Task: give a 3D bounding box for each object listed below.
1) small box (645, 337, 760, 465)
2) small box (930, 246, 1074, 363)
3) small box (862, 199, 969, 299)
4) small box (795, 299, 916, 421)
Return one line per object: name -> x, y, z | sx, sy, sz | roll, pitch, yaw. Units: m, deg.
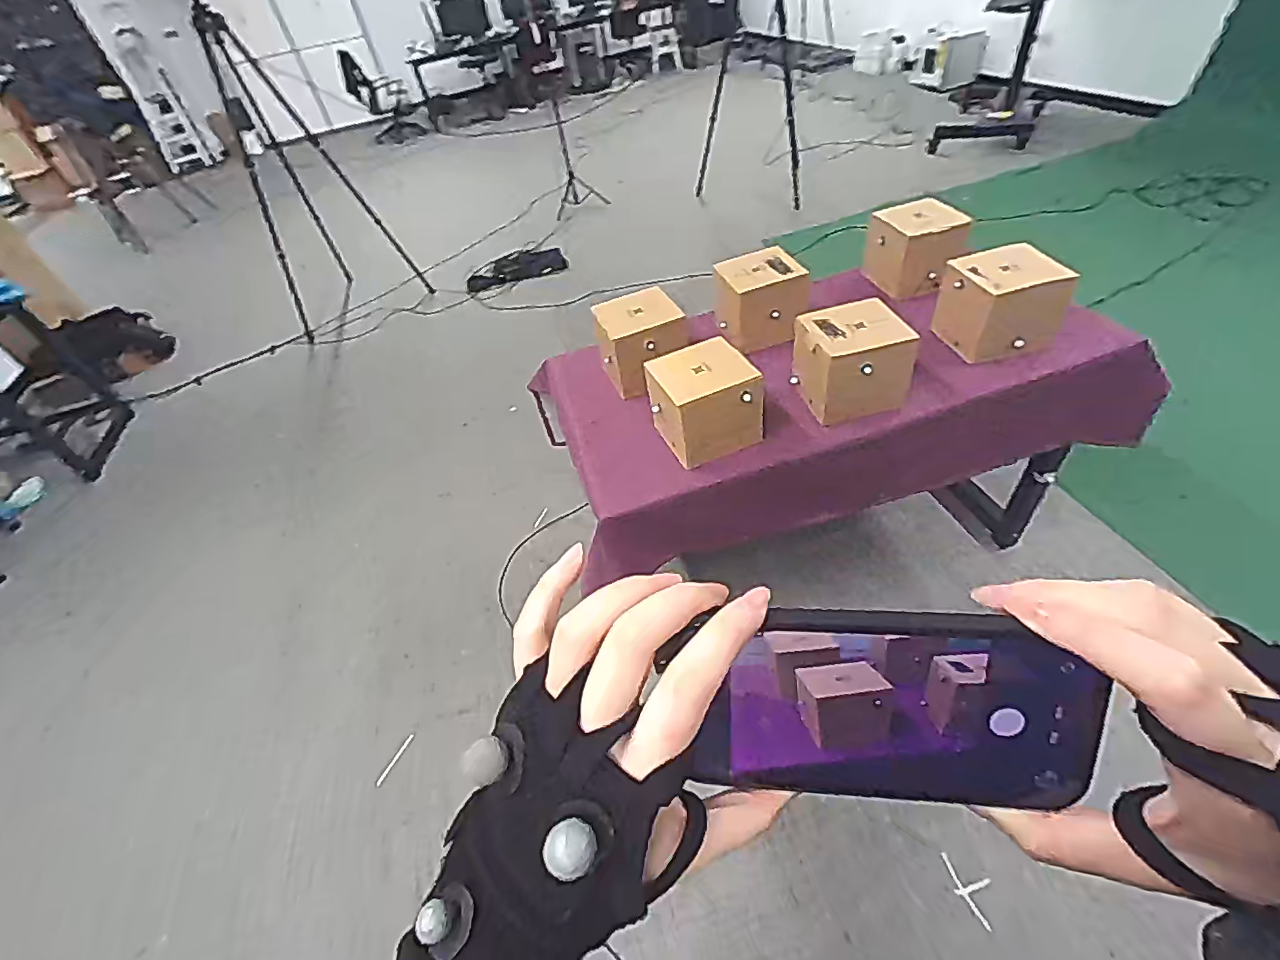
small box -> 0.129, -0.156, 1.093 | 0.179, 0.176, 0.168 | -21, 46, -11
small box -> 0.769, -0.379, 1.173 | 0.179, 0.176, 0.168 | -13, 45, -1
small box -> 0.695, -0.592, 1.391 | 0.168, 0.176, 0.179 | -16, 46, -3
small box -> 0.429, -0.243, 1.113 | 0.179, 0.176, 0.168 | -13, 46, -2
